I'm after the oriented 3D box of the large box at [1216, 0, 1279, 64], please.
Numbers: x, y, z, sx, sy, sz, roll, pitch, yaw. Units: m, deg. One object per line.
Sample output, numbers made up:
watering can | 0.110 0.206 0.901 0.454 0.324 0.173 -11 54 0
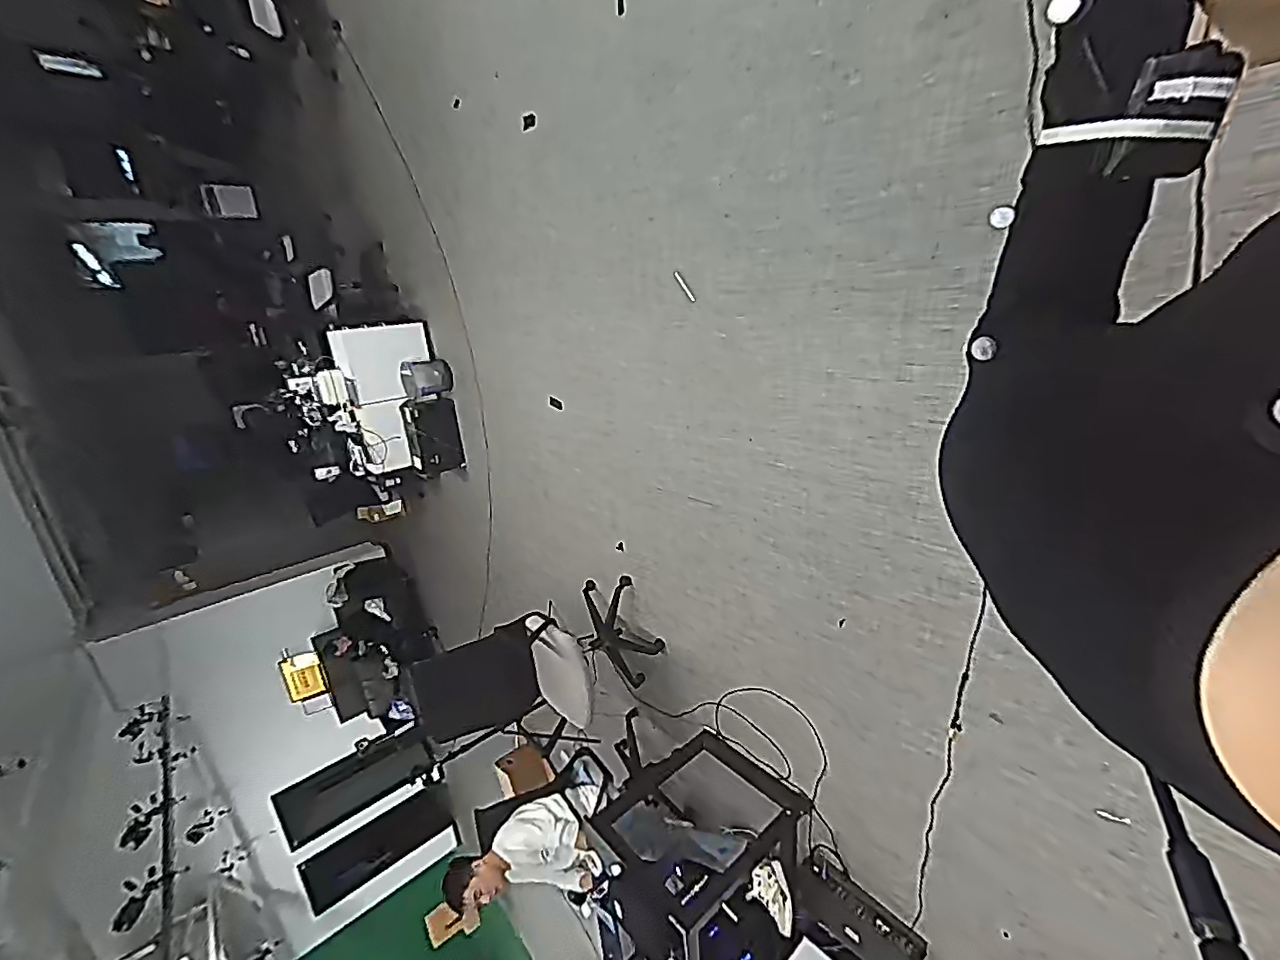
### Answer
large box | 0.542 -0.435 0.204 0.408 0.320 0.320 16 120 47
